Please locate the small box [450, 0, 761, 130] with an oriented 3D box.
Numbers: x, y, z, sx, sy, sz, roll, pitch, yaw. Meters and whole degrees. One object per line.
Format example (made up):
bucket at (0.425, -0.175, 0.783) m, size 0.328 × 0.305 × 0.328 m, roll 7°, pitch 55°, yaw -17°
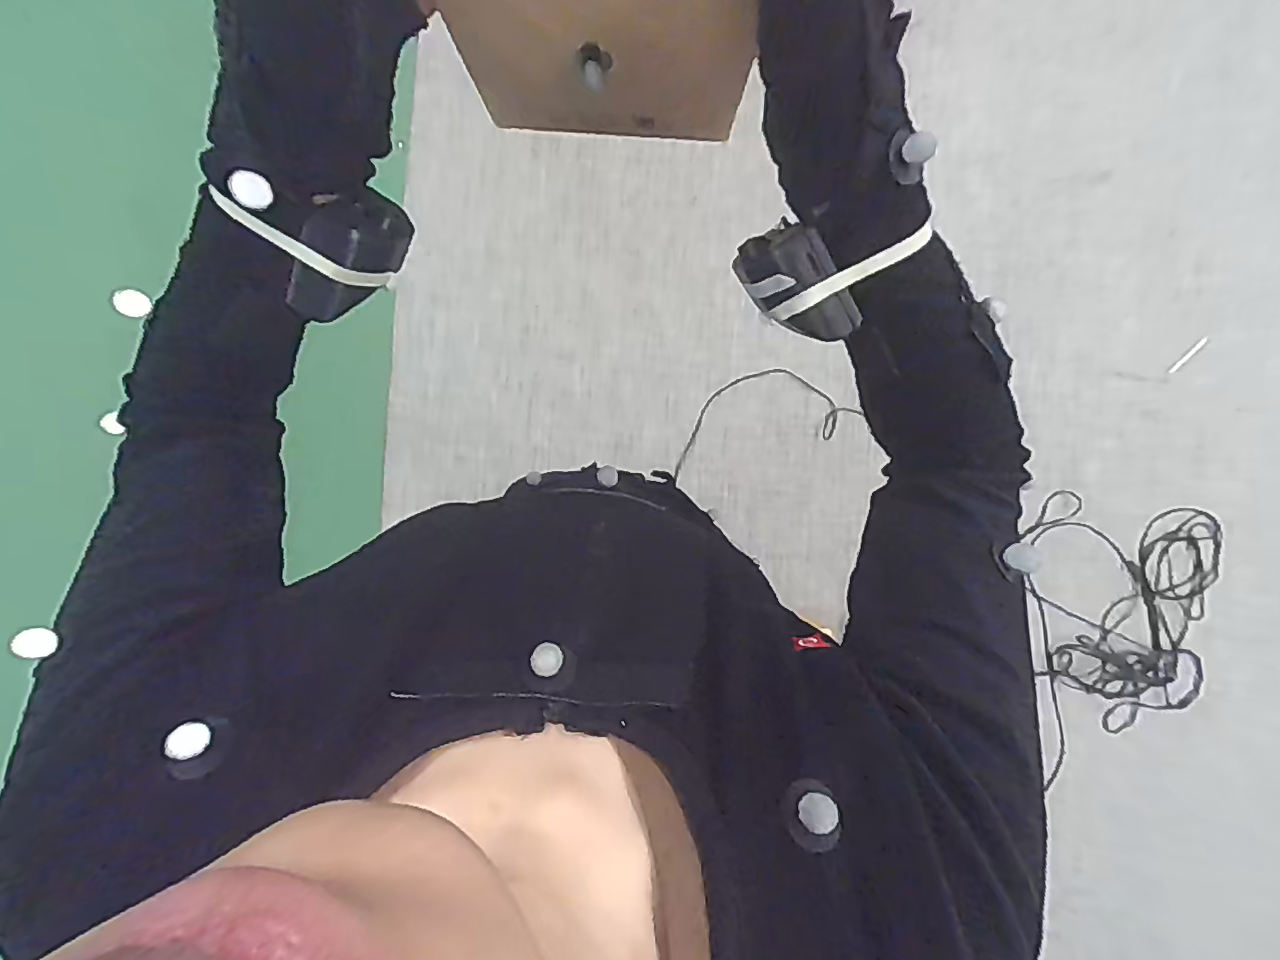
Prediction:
small box at (-0.013, -0.324, 0.292) m, size 0.168 × 0.176 × 0.179 m, roll 3°, pitch 94°, yaw -1°
